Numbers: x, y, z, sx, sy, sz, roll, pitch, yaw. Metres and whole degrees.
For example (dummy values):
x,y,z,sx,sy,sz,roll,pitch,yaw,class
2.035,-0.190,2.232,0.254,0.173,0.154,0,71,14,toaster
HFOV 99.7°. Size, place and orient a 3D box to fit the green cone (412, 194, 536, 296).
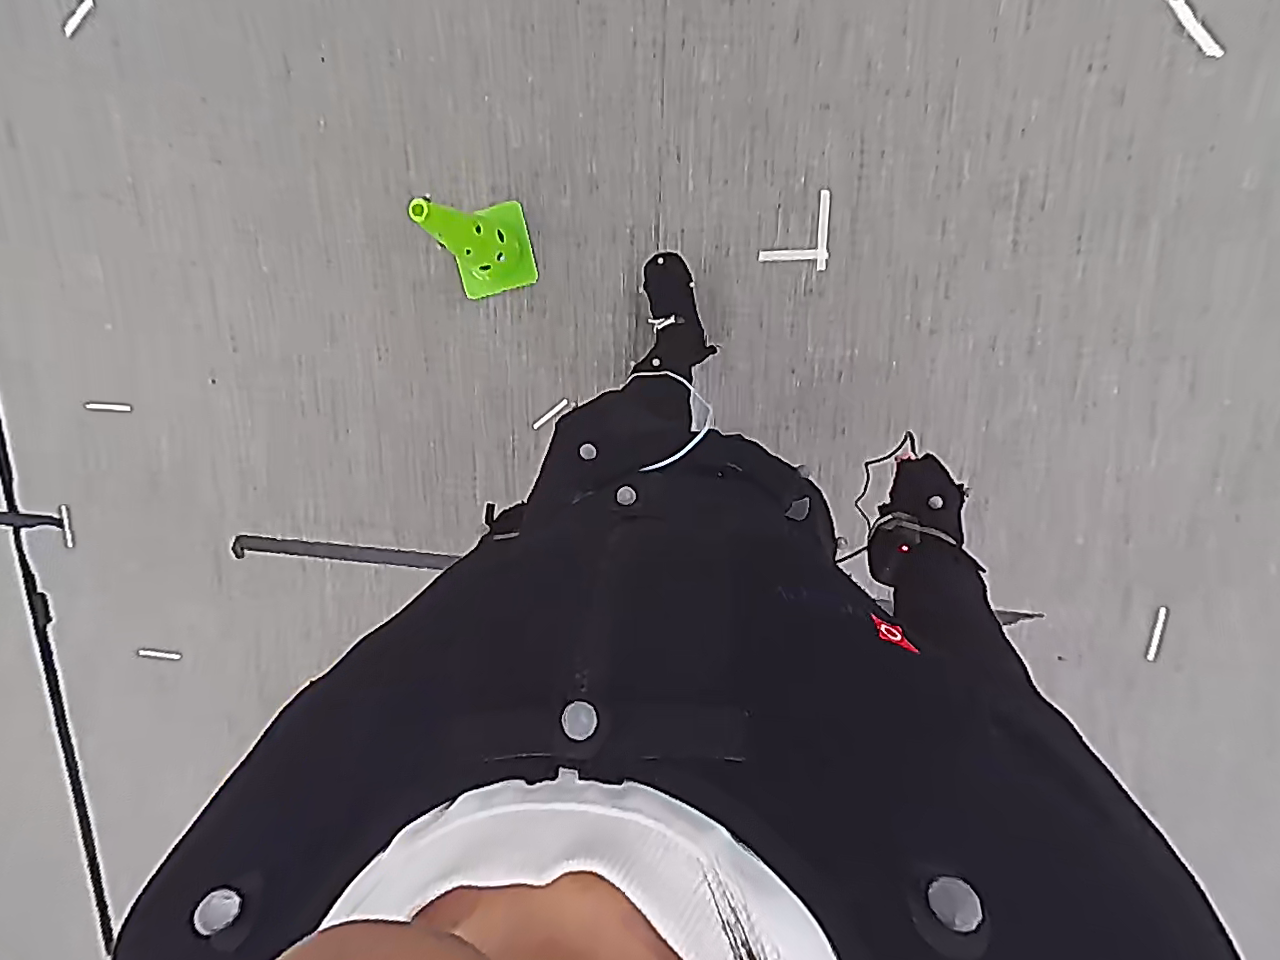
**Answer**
x,y,z,sx,sy,sz,roll,pitch,yaw,class
-0.393,-0.545,1.189,0.202,0.368,0.200,-12,100,9,green cone
